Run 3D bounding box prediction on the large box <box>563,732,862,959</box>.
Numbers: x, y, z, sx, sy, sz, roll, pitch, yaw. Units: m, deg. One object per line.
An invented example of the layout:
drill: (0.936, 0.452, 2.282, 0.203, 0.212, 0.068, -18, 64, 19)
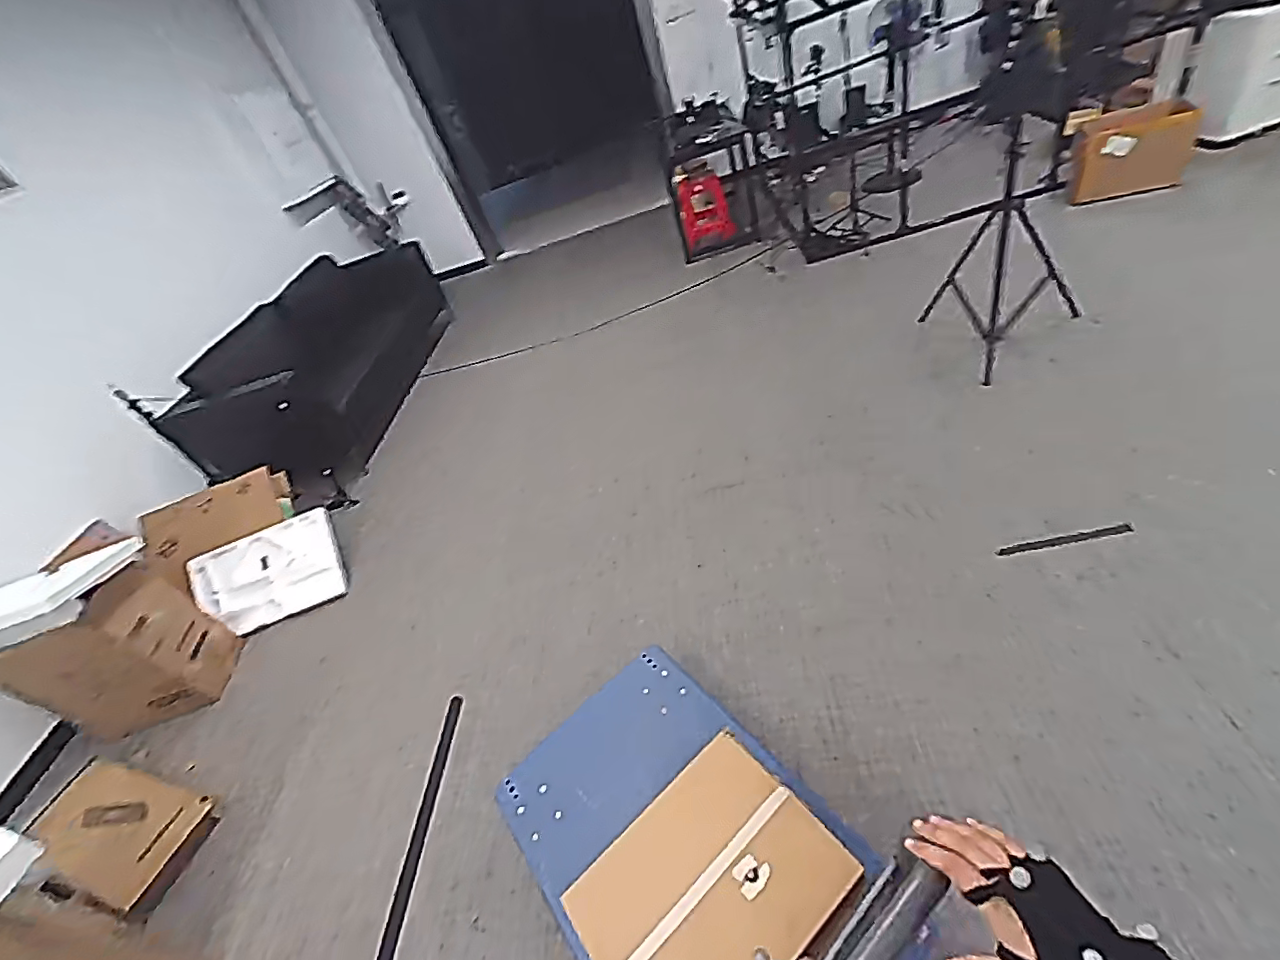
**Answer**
large box: (0.144, 0.769, 0.970, 0.408, 0.320, 0.320, -37, 41, -20)
